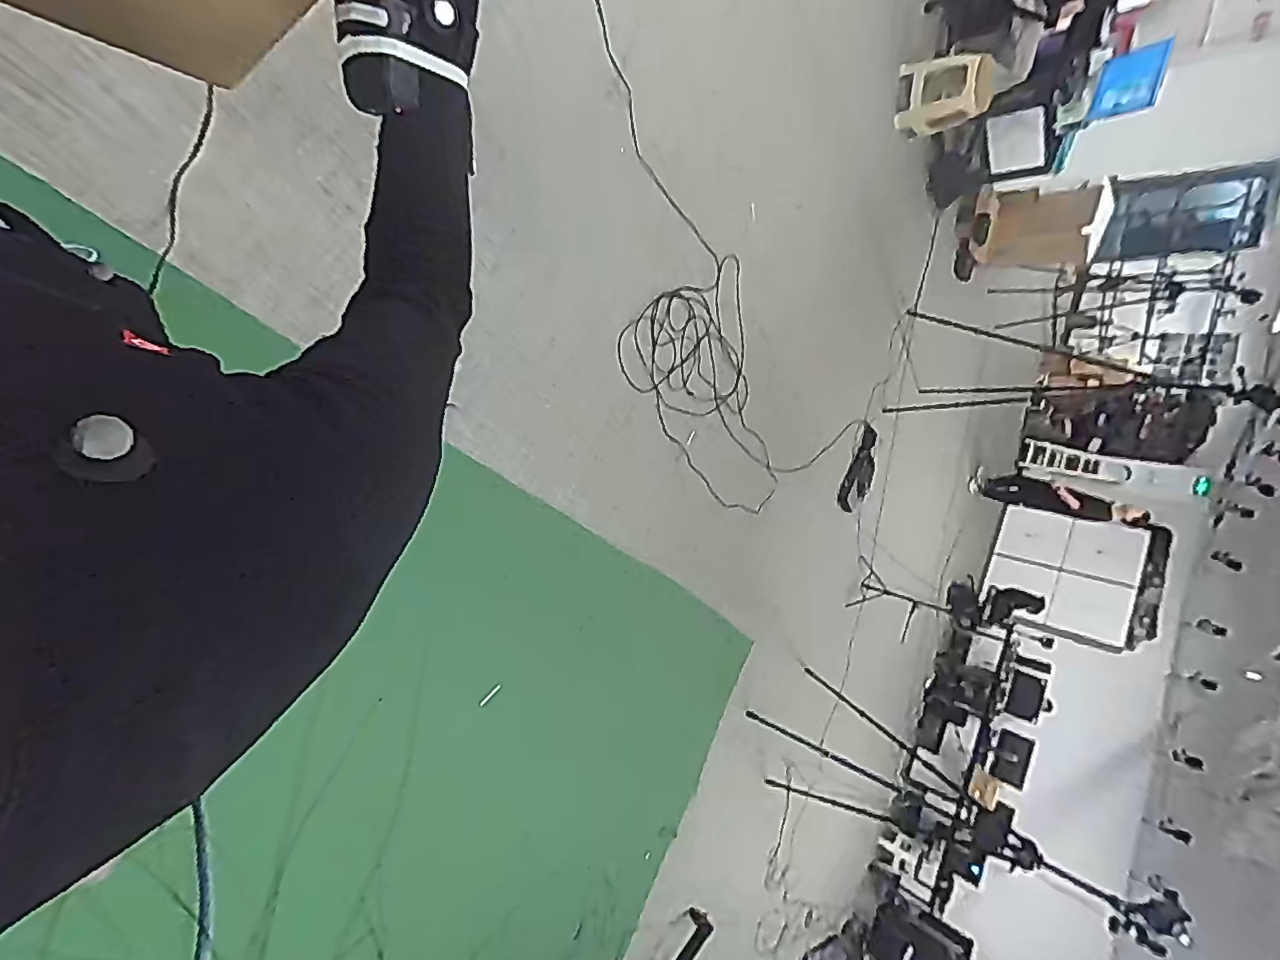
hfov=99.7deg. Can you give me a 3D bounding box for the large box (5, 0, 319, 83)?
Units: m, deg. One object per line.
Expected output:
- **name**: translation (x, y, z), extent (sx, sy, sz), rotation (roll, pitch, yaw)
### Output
- **large box**: translation (-0.407, -0.492, 0.267), extent (0.408, 0.320, 0.320), rotation (-6, 107, -48)
